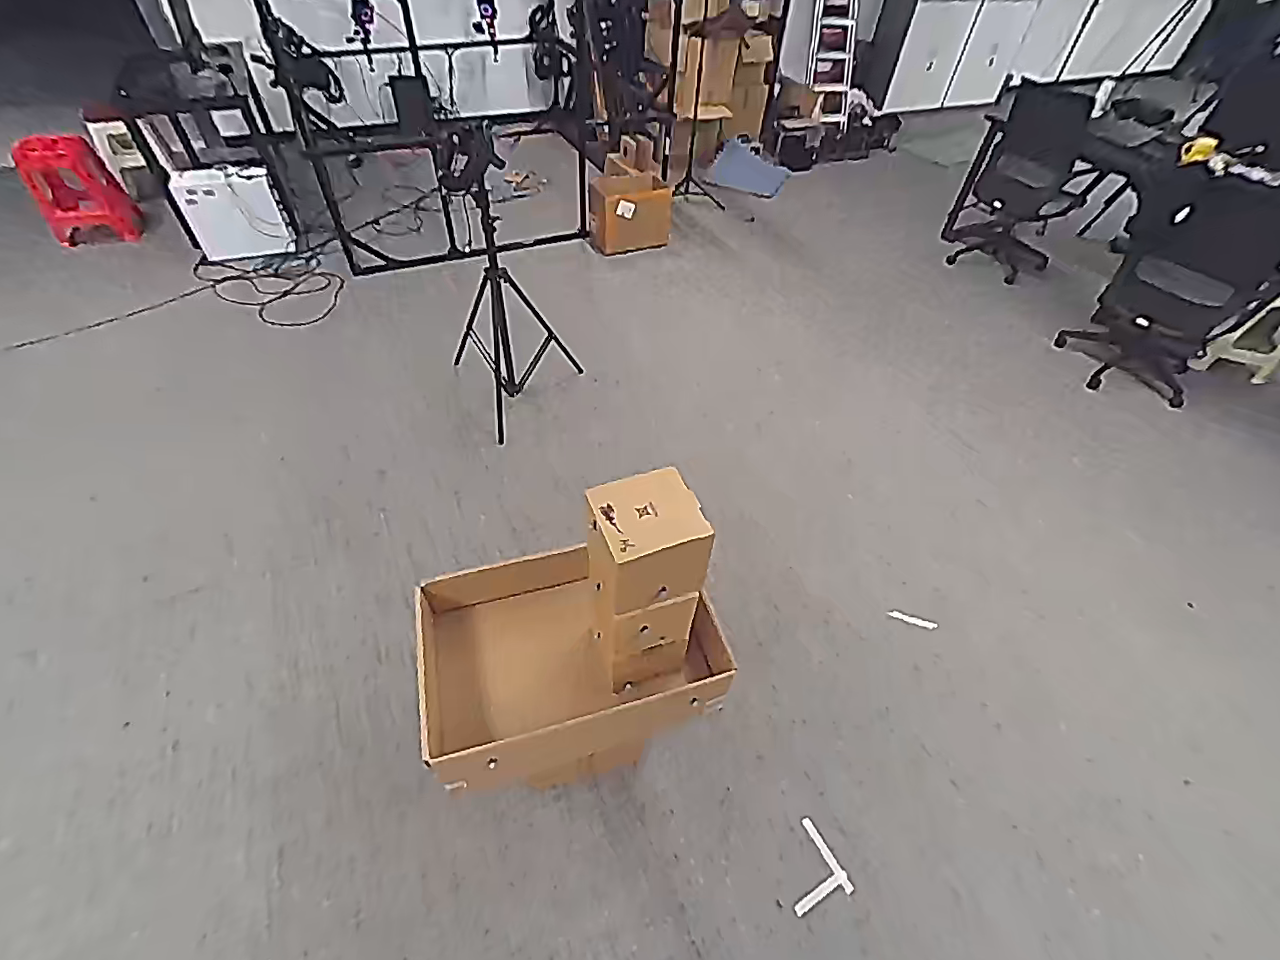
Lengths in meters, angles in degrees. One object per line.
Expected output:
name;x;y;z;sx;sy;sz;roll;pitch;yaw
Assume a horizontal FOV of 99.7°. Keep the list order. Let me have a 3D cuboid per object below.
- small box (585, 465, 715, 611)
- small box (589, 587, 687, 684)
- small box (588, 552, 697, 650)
small box;0.009;0.103;0.954;0.179;0.176;0.168;-14;49;-17
small box;-0.008;0.327;1.191;0.168;0.176;0.179;-14;49;-15
small box;0.000;0.216;1.072;0.168;0.176;0.179;-13;49;-15
